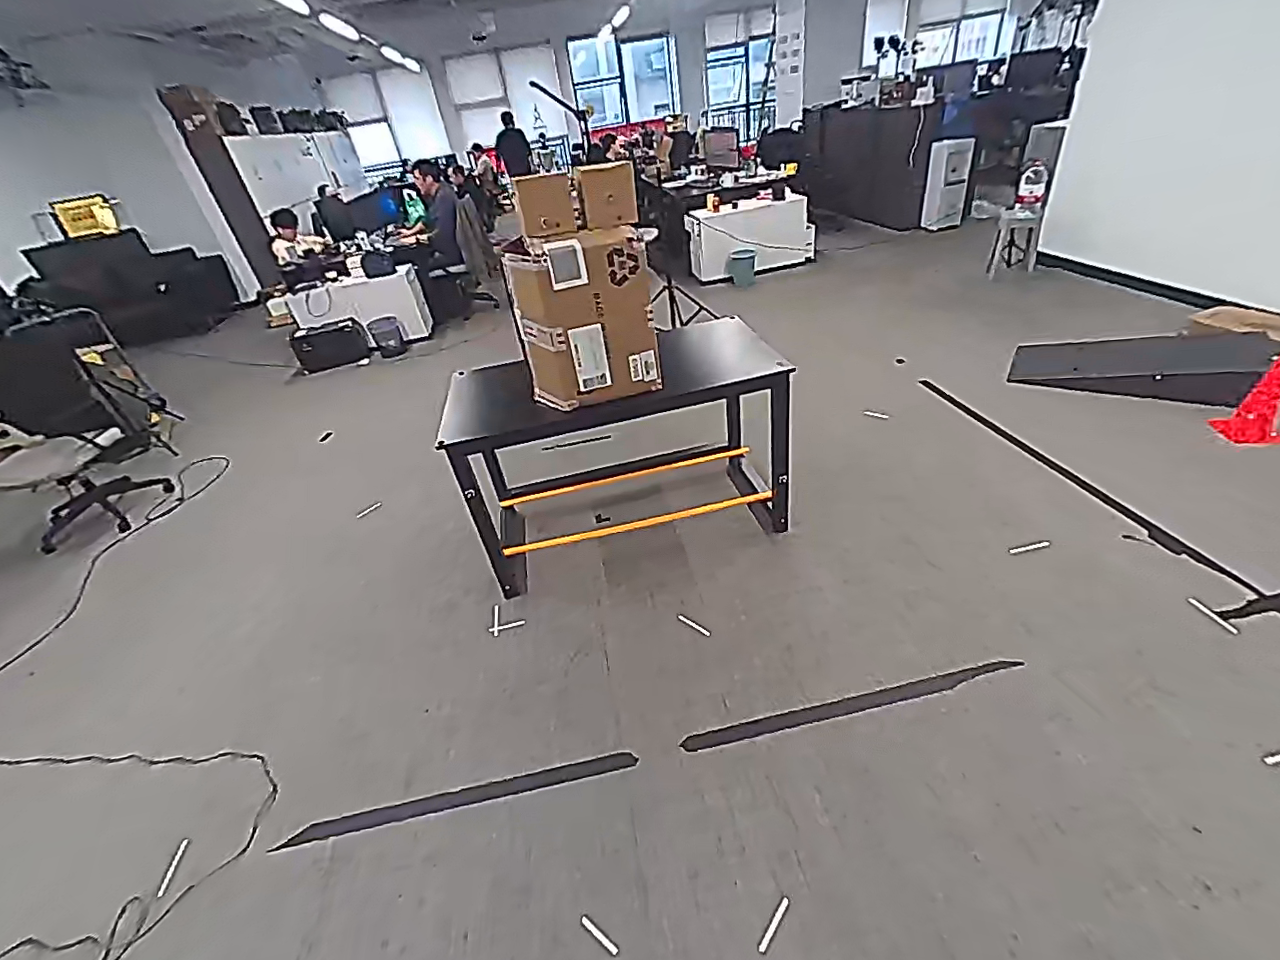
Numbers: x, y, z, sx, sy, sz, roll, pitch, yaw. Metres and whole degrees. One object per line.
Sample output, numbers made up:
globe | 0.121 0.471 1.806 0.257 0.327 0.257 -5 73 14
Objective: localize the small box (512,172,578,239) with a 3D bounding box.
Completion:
small box | -0.306 -0.884 1.739 0.168 0.176 0.179 -16 34 -10
